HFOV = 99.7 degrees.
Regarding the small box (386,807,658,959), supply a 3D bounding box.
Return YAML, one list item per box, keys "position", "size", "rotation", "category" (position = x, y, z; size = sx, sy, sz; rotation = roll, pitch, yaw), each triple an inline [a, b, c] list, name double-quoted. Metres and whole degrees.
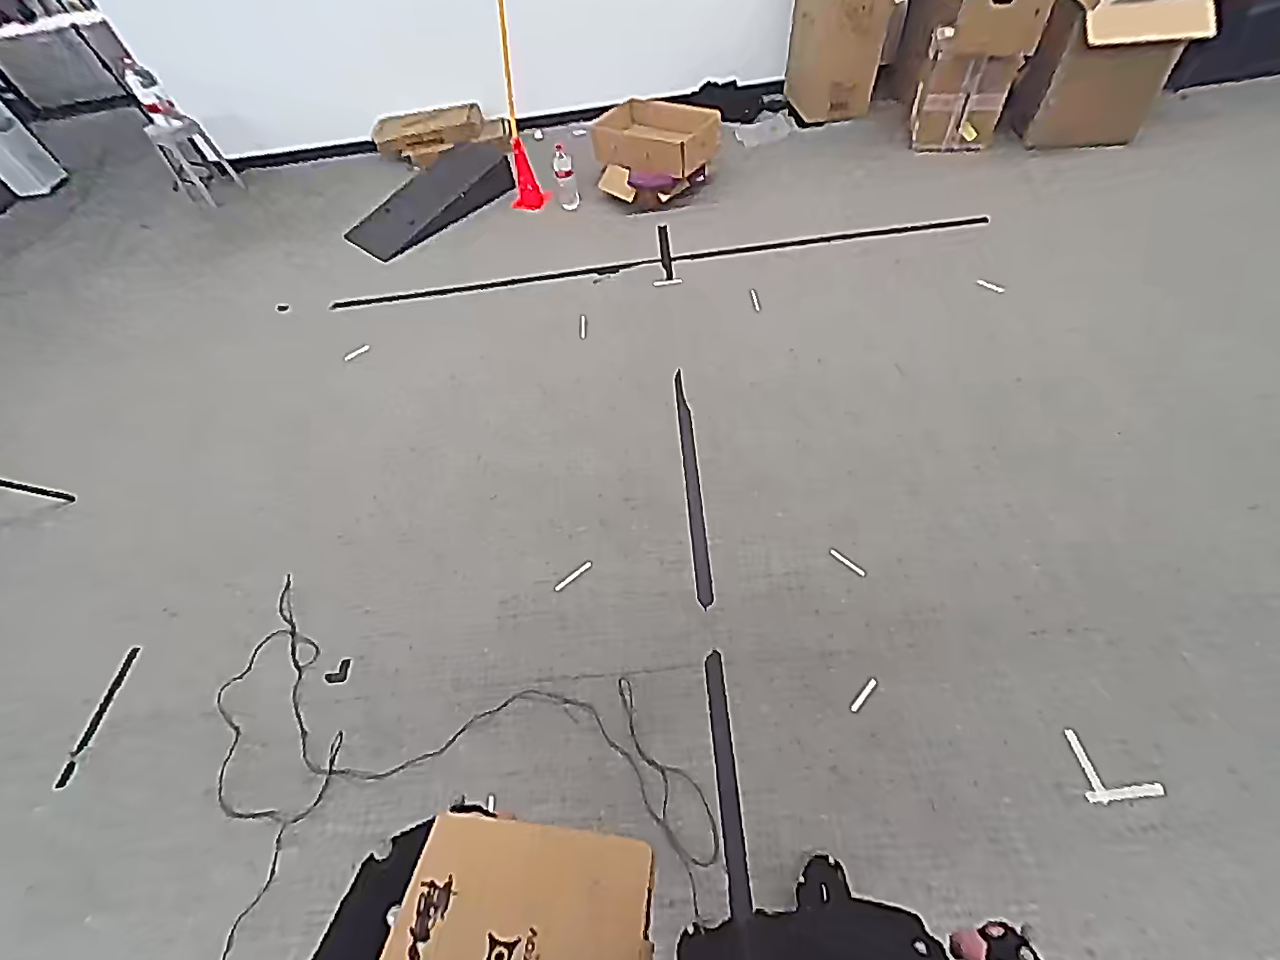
- position: [-0.085, 0.385, 0.412]
  size: [0.179, 0.176, 0.168]
  rotation: [6, 36, 5]
  category: "small box"
